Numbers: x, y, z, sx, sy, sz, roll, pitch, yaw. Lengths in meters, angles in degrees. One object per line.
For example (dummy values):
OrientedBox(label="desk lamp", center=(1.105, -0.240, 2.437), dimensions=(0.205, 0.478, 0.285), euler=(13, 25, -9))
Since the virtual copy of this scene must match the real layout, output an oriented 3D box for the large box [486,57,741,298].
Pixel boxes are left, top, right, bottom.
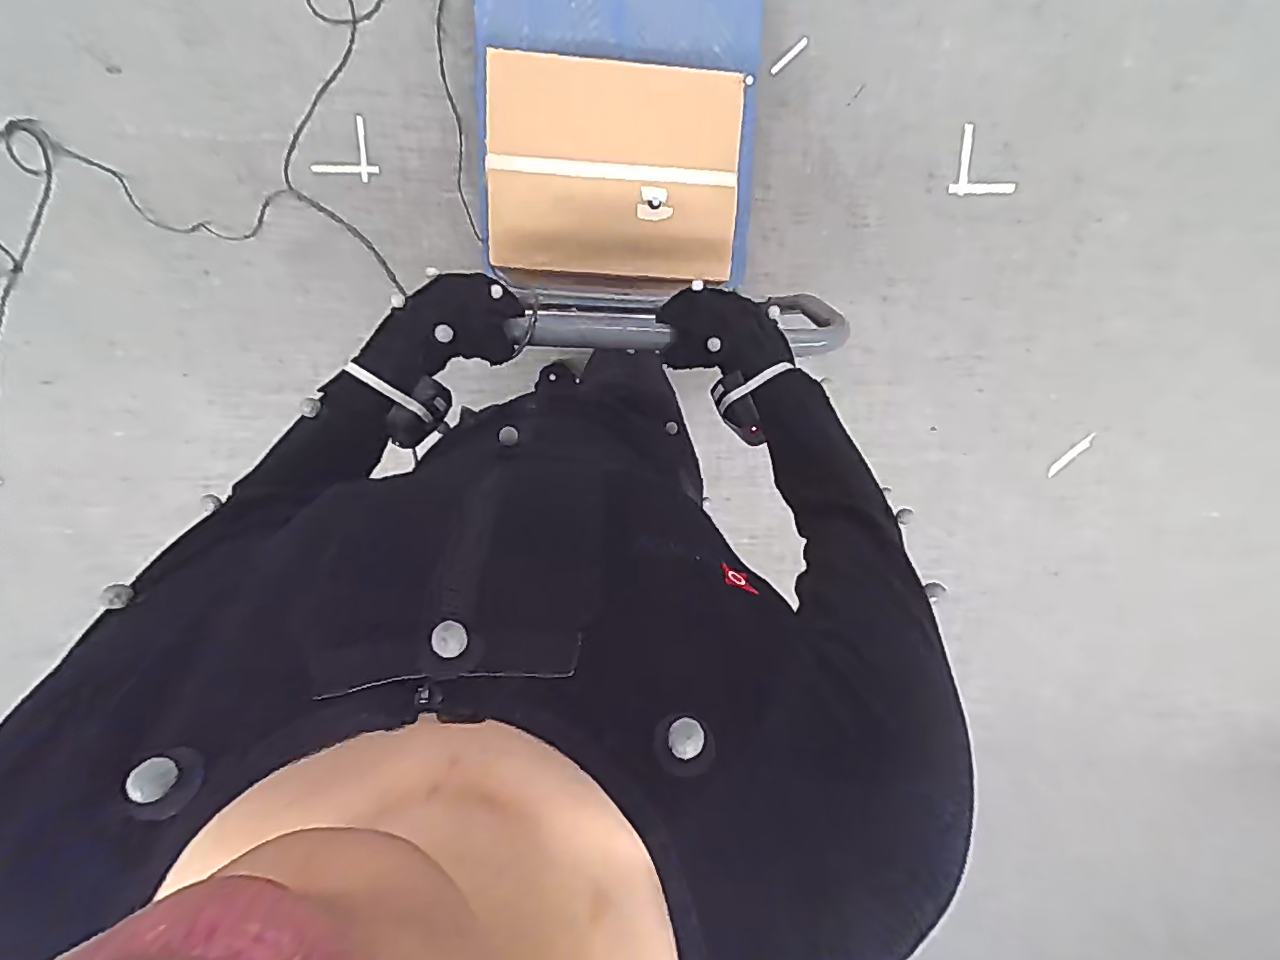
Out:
OrientedBox(label="large box", center=(-0.056, -0.525, 1.016), dimensions=(0.408, 0.320, 0.320), euler=(1, 104, -6))
